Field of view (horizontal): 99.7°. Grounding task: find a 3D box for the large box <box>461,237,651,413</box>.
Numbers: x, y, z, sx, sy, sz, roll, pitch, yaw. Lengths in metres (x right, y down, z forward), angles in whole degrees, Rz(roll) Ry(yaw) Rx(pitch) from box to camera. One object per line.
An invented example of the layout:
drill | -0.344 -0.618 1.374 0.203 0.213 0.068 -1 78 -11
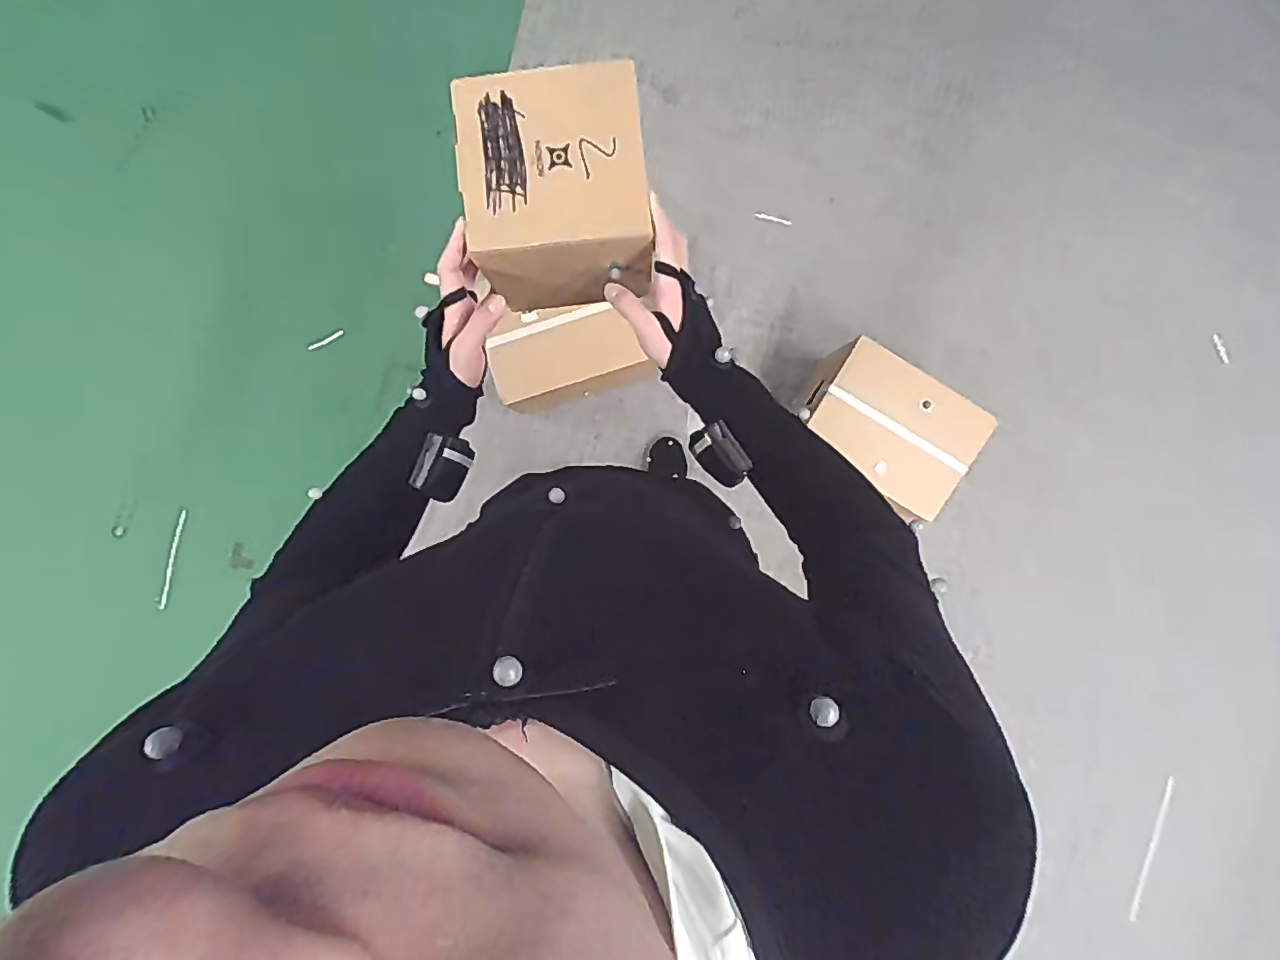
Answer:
large box | -0.207 -0.399 1.482 0.408 0.320 0.320 -18 92 1
